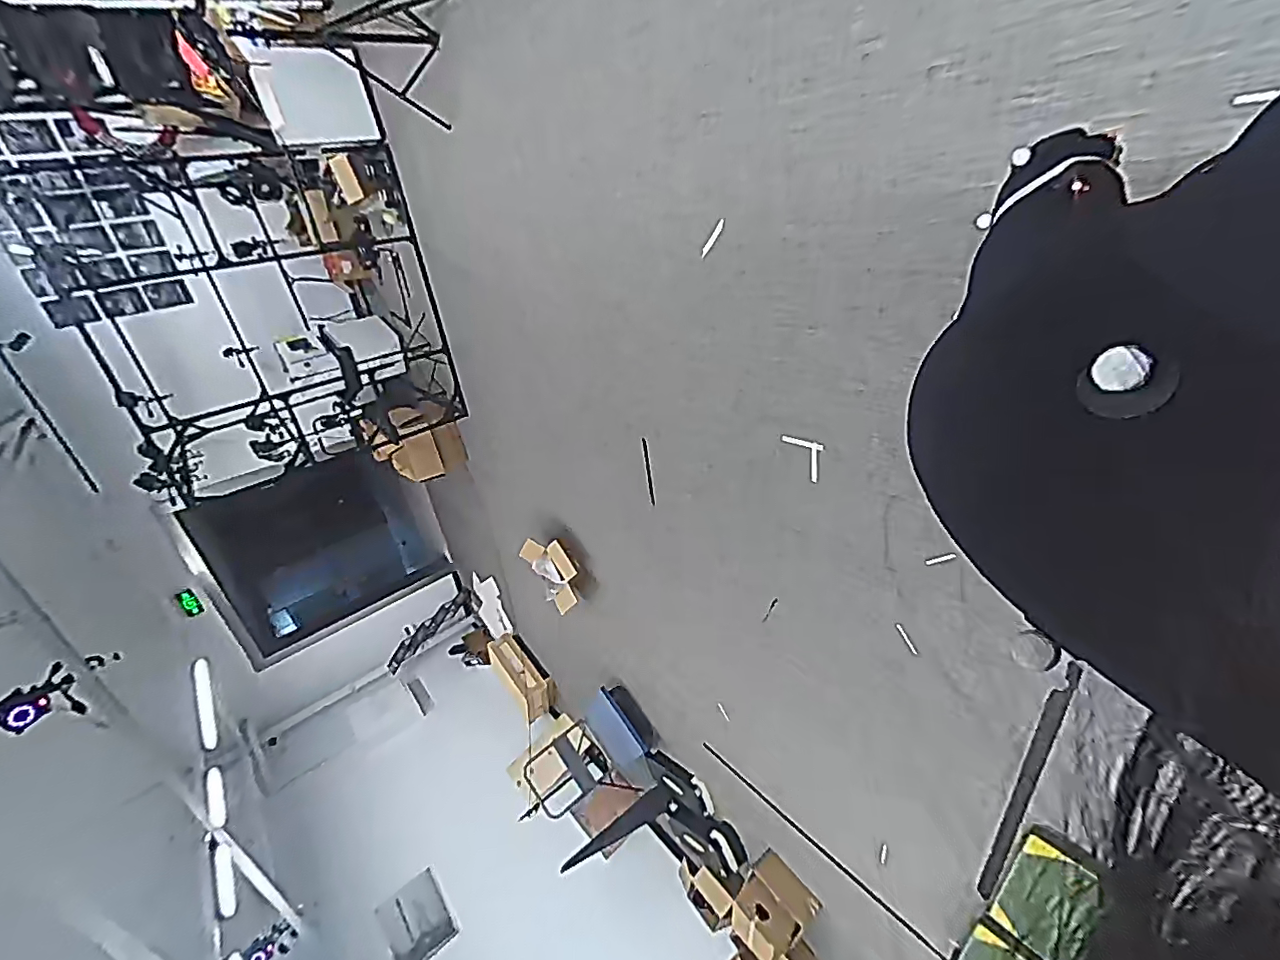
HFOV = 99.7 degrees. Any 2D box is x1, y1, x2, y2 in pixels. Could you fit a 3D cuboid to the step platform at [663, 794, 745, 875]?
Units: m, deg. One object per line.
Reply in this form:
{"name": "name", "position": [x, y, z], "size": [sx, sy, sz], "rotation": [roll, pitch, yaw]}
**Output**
{"name": "step platform", "position": [0.449, 2.609, 3.998], "size": [0.684, 0.204, 0.286], "rotation": [-17, 99, 57]}
